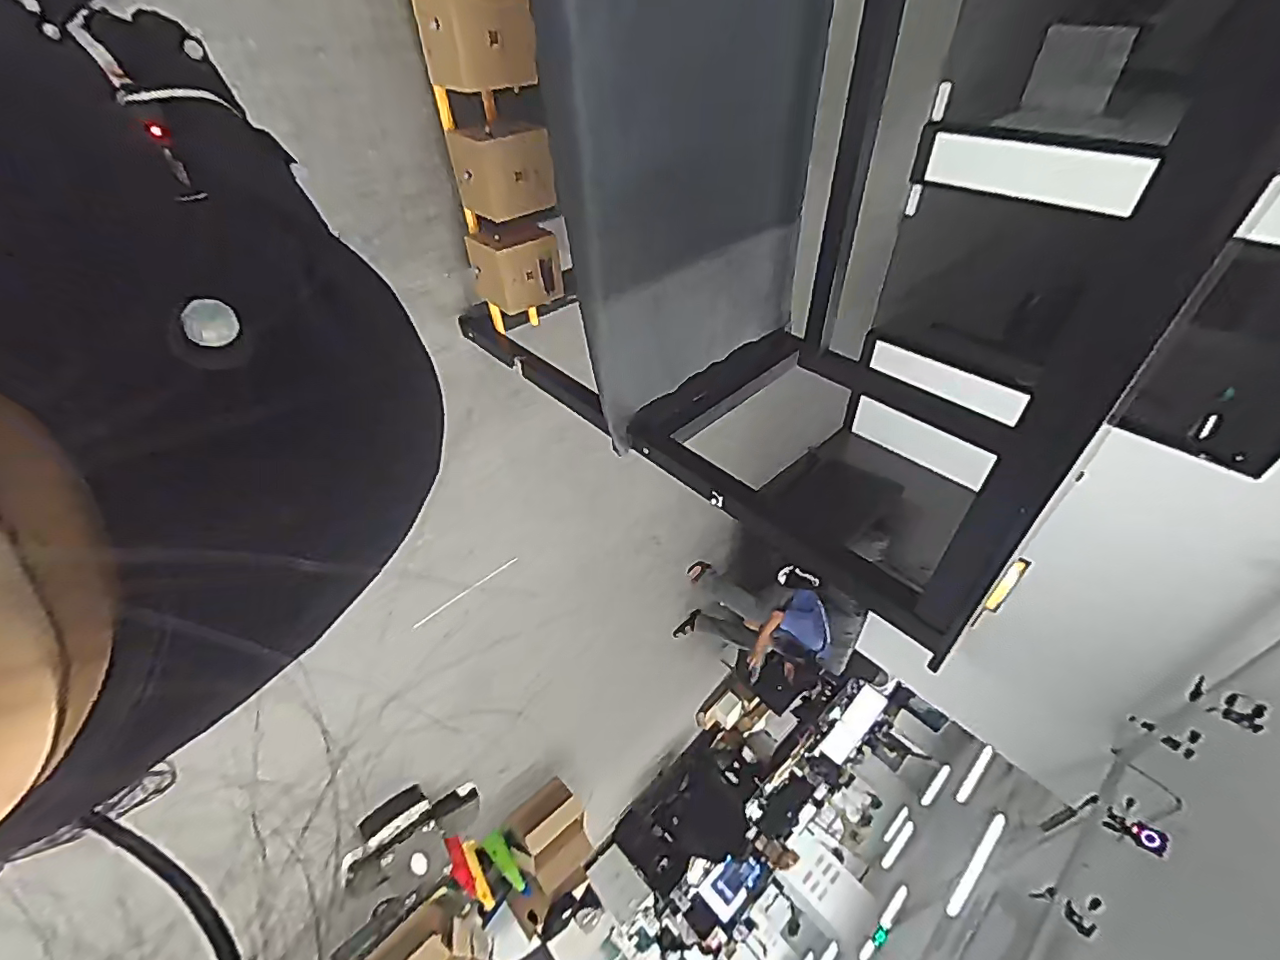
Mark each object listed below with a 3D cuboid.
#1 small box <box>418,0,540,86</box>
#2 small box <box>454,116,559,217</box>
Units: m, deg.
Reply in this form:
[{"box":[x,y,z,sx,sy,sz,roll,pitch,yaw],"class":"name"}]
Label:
[{"box":[-0.331,-0.920,1.105,0.179,0.176,0.168,-32,142,-28],"class":"small box"},{"box":[-0.318,-0.744,1.277,0.179,0.176,0.168,-33,142,-27],"class":"small box"}]
